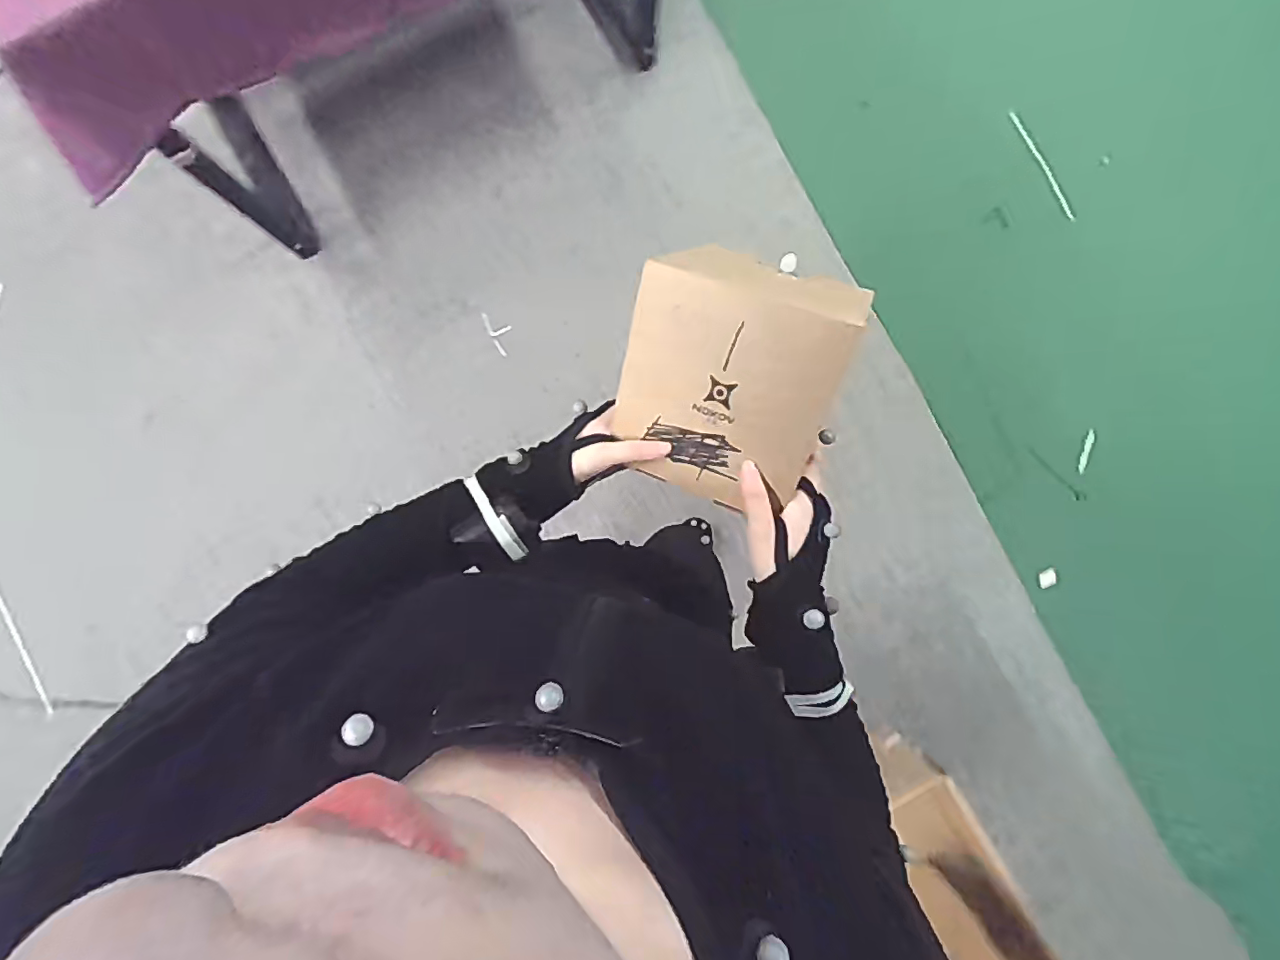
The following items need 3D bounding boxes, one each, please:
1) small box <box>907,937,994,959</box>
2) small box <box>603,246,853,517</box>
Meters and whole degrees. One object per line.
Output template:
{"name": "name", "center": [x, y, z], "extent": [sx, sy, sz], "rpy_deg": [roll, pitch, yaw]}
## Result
{"name": "small box", "center": [0.476, 0.798, 0.756], "extent": [0.168, 0.176, 0.179], "rpy_deg": [-27, 89, -1]}
{"name": "small box", "center": [0.085, -0.101, 0.497], "extent": [0.168, 0.176, 0.179], "rpy_deg": [21, 121, 13]}
